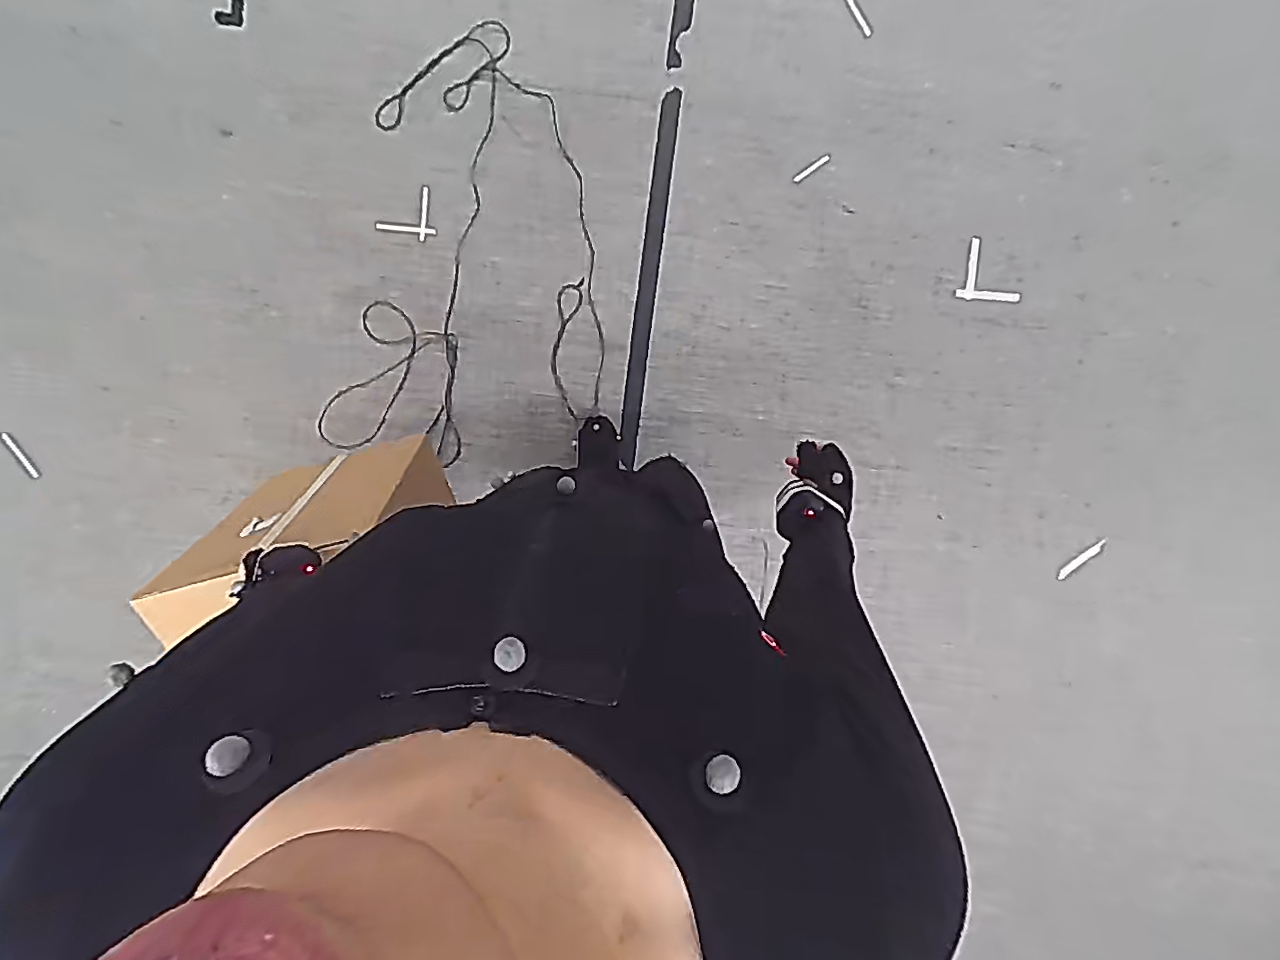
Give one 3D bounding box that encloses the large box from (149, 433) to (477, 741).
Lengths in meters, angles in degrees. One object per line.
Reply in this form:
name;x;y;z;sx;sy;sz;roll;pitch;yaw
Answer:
large box;-0.502;0.160;0.957;0.320;0.408;0.320;-17;118;-2
